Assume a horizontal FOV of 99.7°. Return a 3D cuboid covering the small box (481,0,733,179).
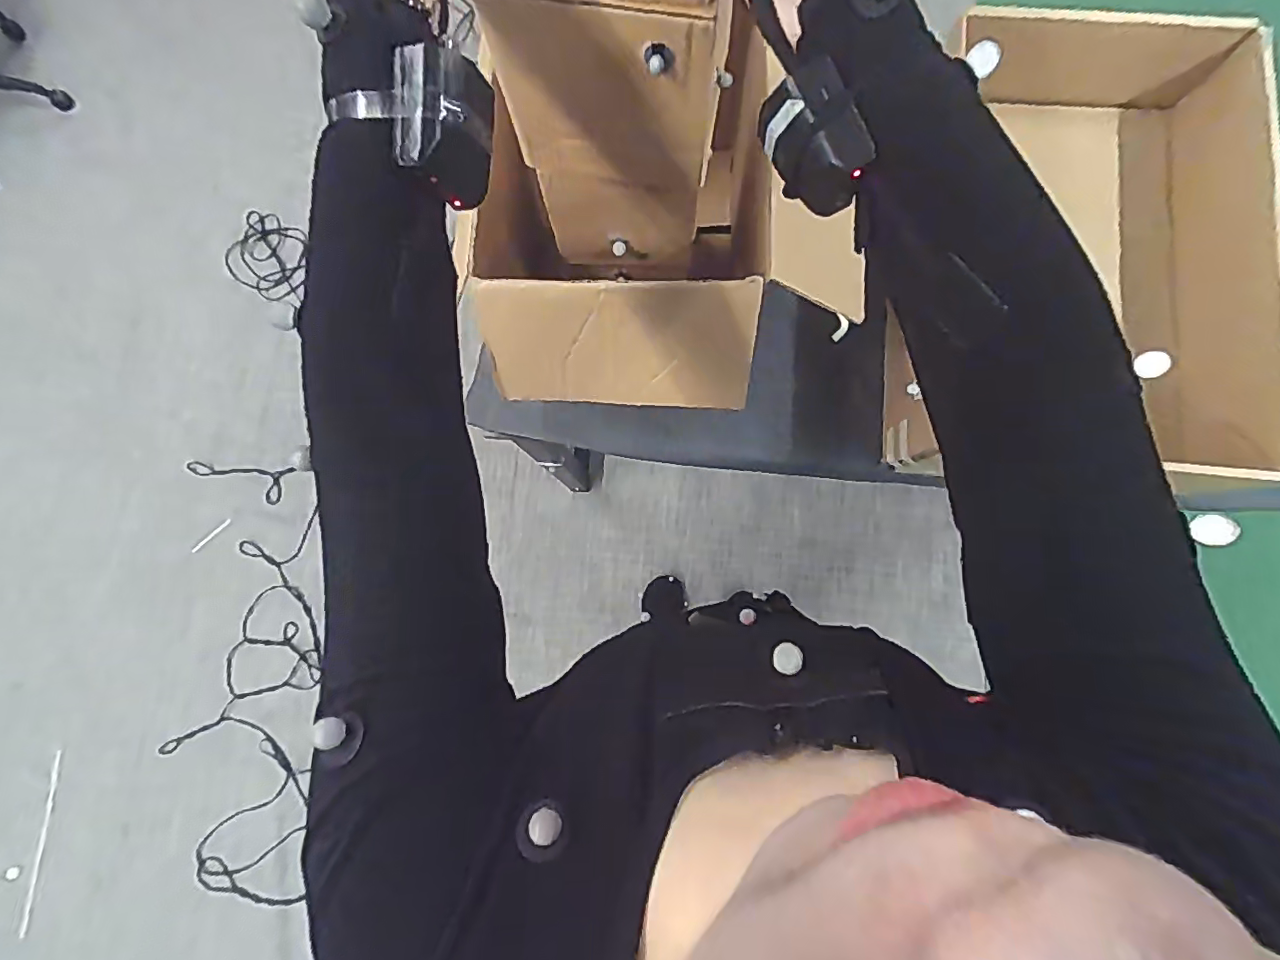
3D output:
[{"bbox_3d":[-0.016,-0.386,0.453,0.179,0.176,0.168,10,82,3],"label":"small box"}]
